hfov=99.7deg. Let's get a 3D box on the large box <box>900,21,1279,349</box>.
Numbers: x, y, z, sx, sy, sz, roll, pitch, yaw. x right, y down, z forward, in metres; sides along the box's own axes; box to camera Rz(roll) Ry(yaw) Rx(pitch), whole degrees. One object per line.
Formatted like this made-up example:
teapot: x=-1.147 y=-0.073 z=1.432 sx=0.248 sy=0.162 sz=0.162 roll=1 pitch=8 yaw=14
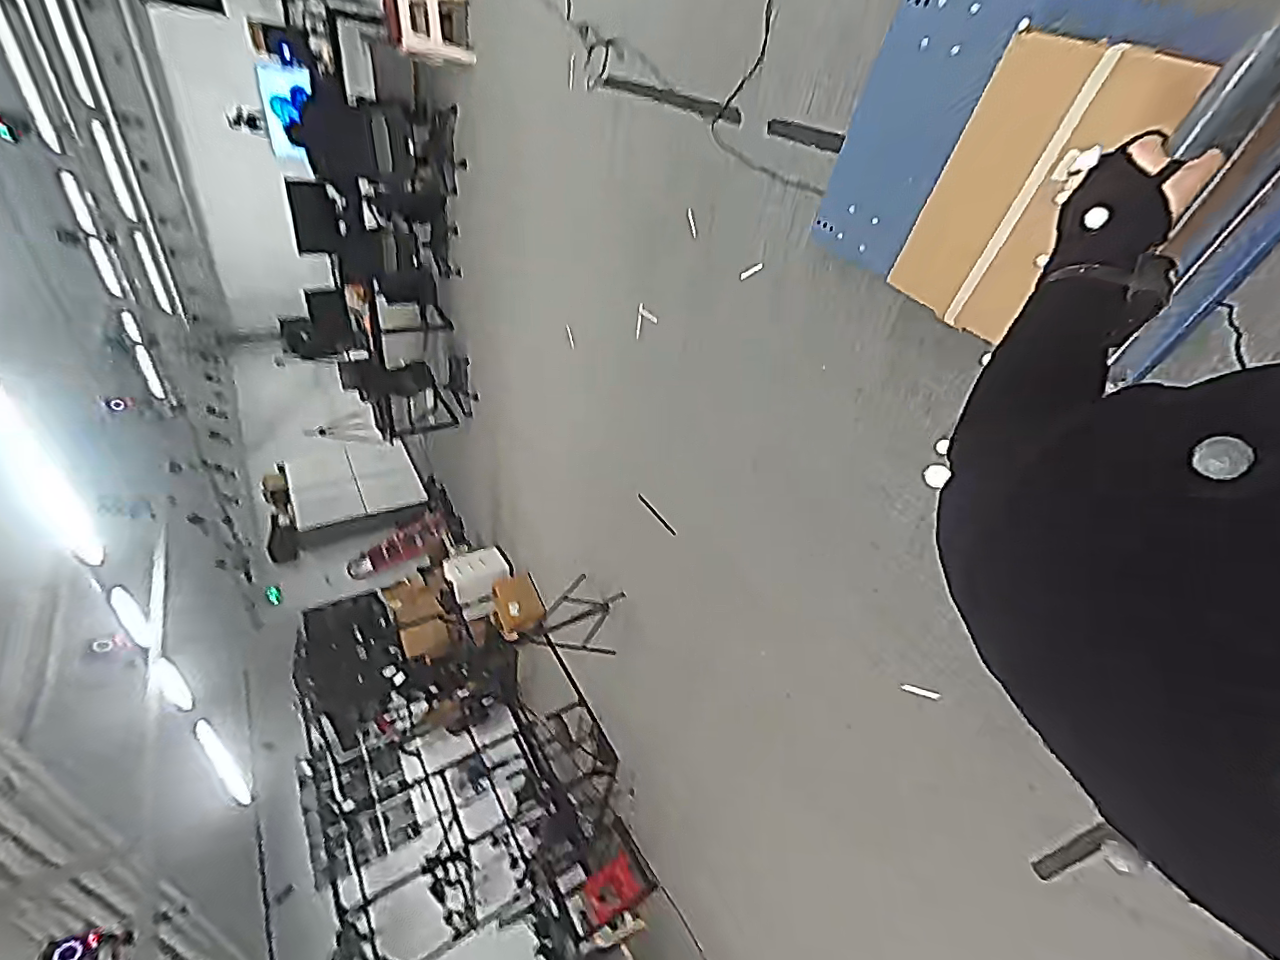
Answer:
large box: x=0.754 y=-0.488 z=0.939 sx=0.320 sy=0.320 sz=0.408 roll=51 pitch=142 yaw=34
